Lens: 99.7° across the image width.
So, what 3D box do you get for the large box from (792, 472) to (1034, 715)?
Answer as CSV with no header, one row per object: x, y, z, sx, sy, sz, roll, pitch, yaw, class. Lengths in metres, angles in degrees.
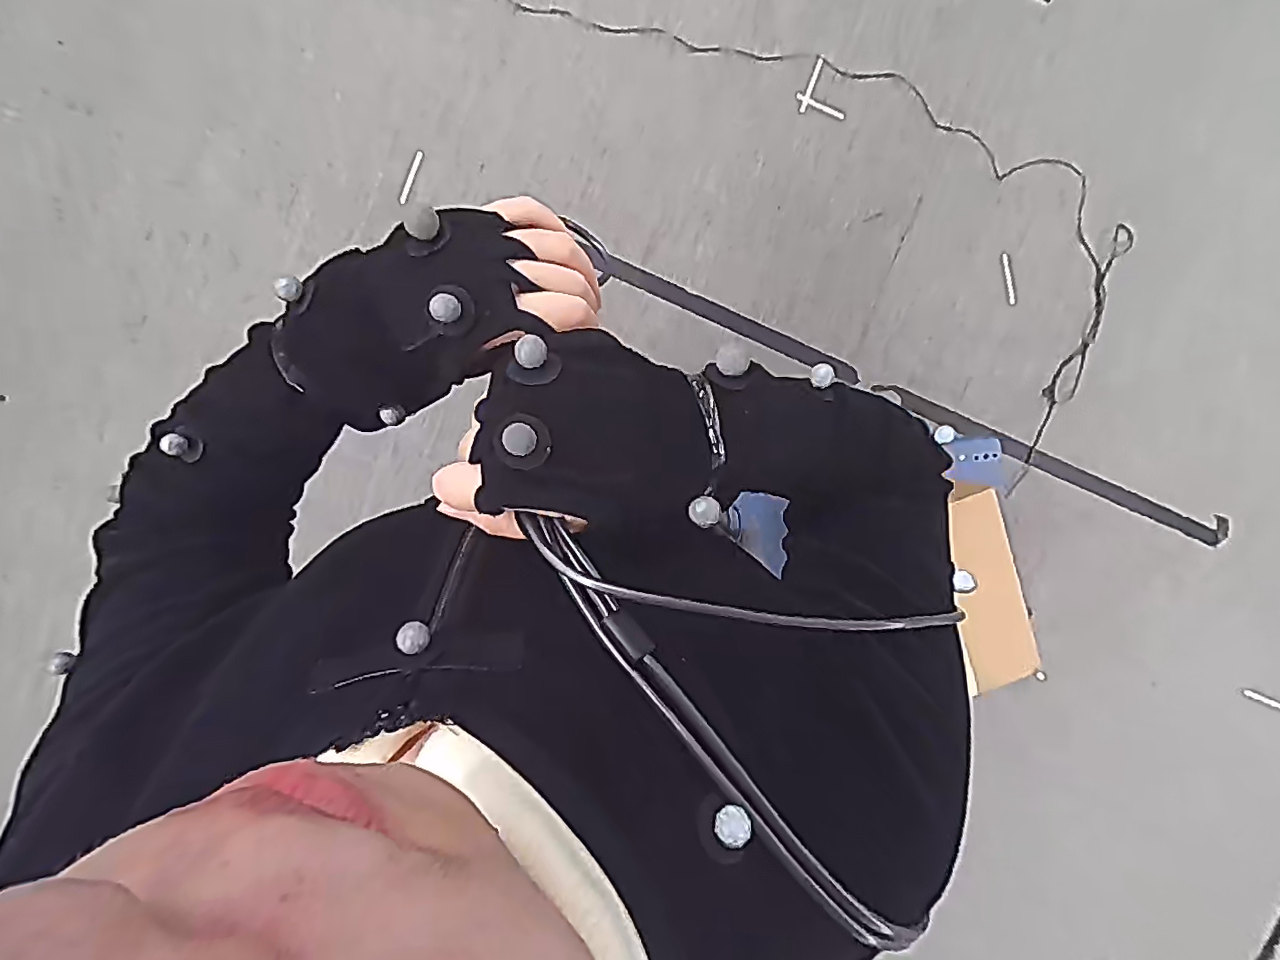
0.590,0.229,1.226,0.320,0.320,0.408,-19,97,-1,large box
